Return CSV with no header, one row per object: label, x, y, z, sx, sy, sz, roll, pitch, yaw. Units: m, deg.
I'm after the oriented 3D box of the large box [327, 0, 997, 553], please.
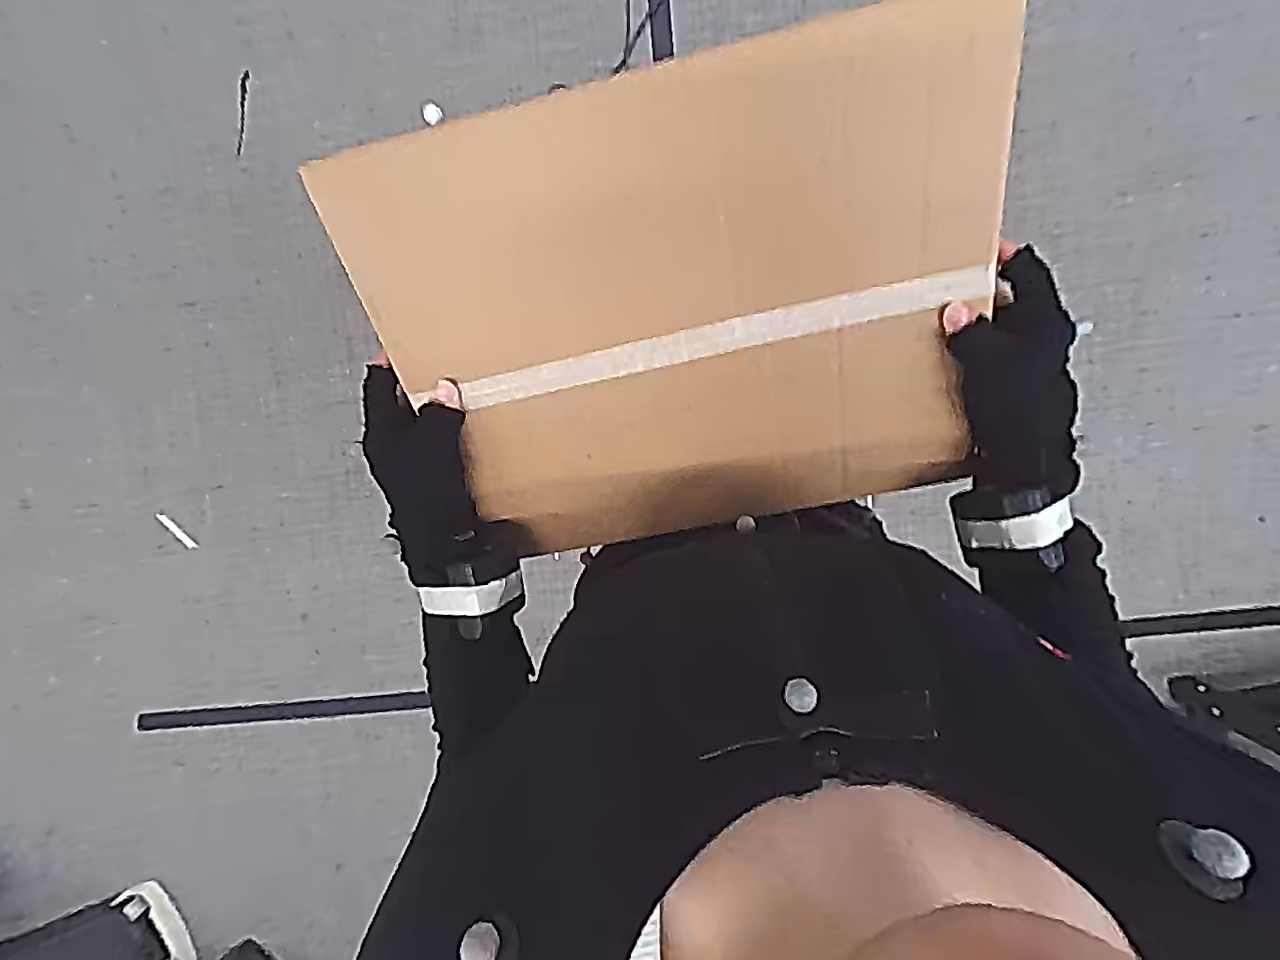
large box,0.029,-0.176,0.510,0.408,0.320,0.320,-11,123,7
